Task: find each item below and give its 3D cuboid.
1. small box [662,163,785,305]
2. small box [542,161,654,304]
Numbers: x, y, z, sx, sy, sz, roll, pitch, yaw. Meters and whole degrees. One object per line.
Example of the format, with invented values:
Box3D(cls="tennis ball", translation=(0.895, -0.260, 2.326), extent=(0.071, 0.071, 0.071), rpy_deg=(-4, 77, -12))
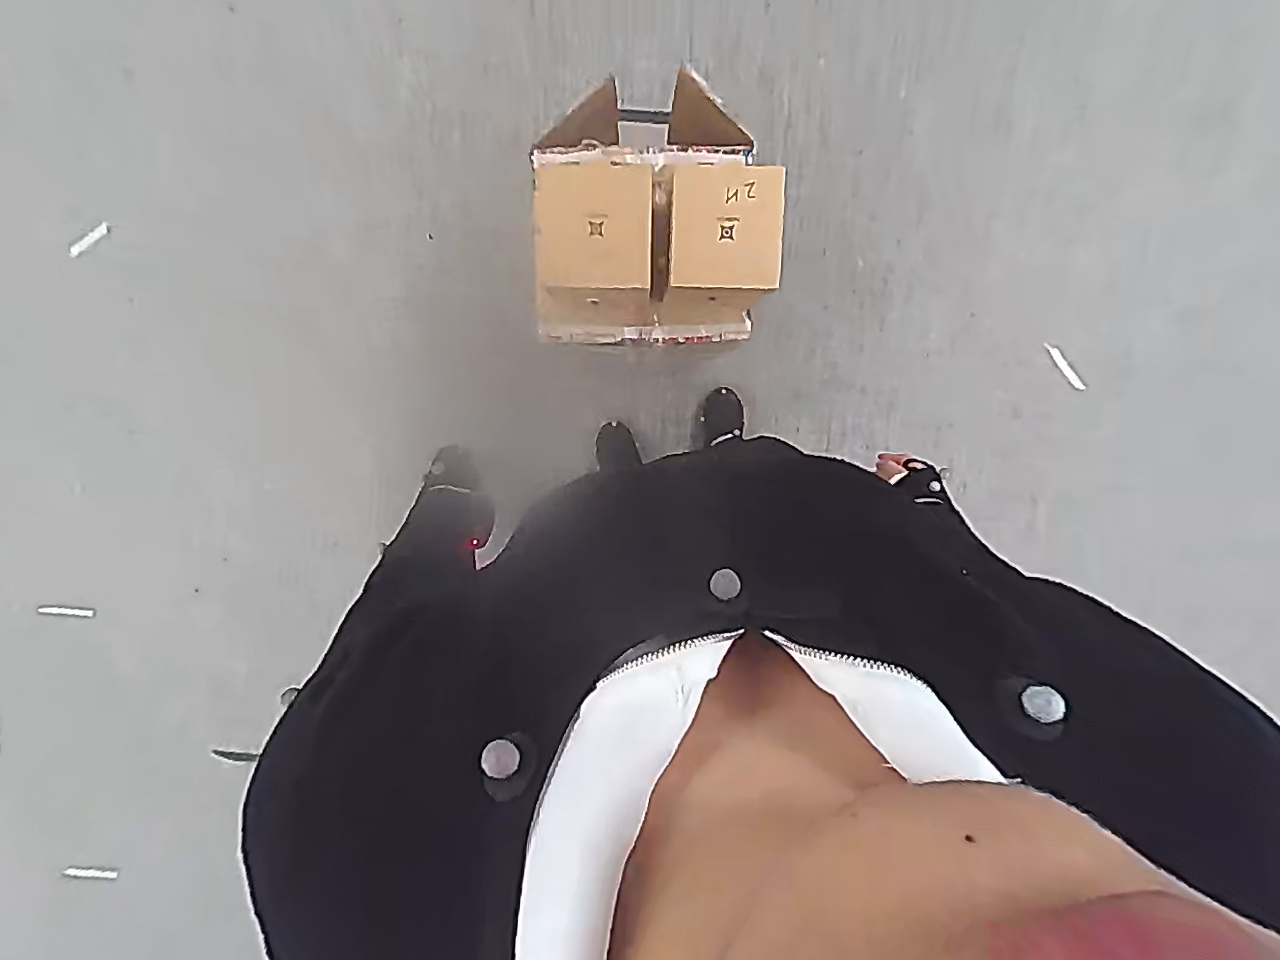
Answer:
Box3D(cls="small box", translation=(0.126, -0.386, 0.878), extent=(0.168, 0.176, 0.179), rpy_deg=(1, 99, -2))
Box3D(cls="small box", translation=(-0.062, -0.390, 0.876), extent=(0.168, 0.176, 0.179), rpy_deg=(0, 101, 1))
